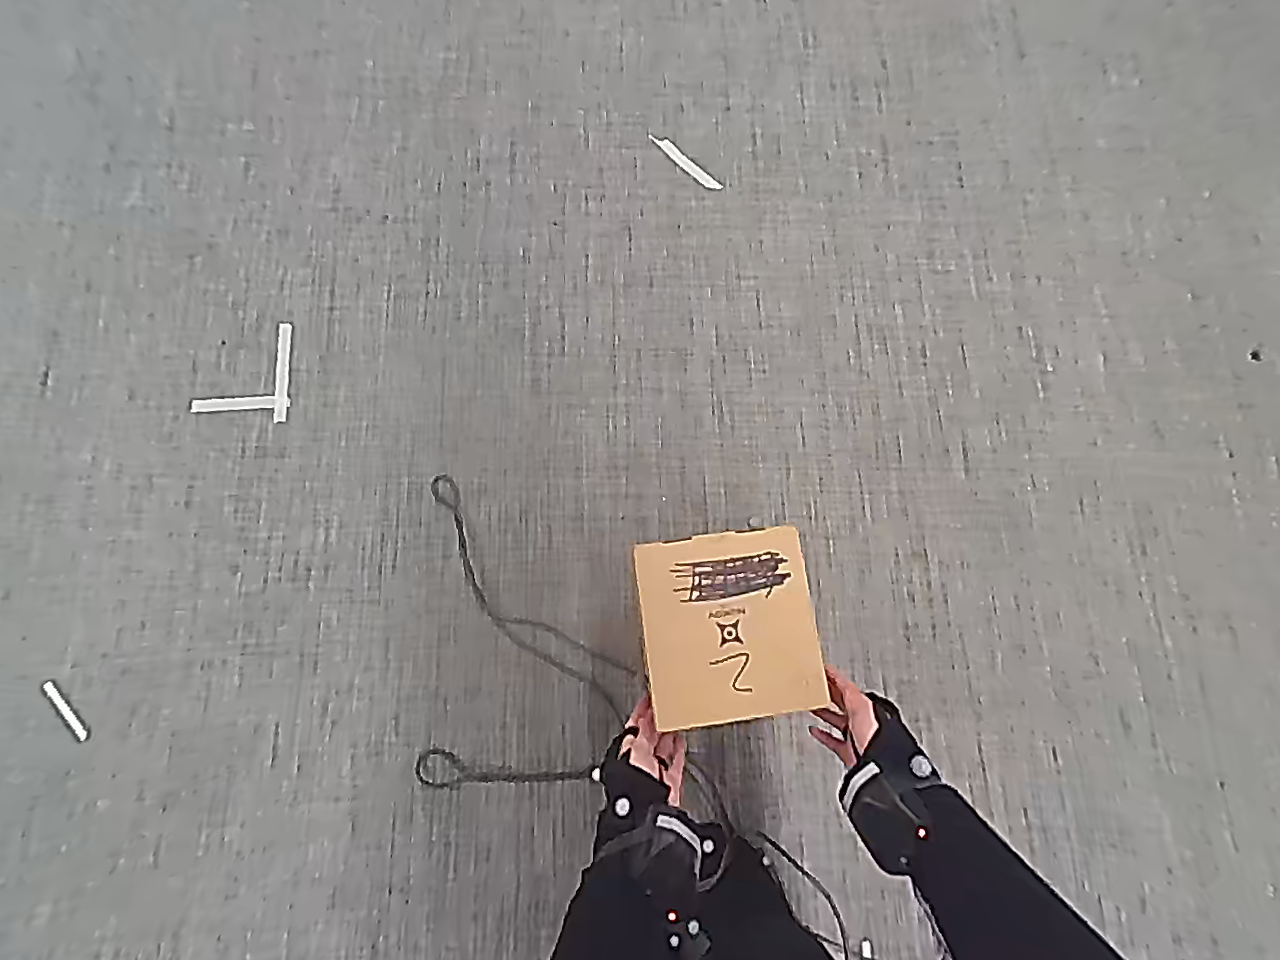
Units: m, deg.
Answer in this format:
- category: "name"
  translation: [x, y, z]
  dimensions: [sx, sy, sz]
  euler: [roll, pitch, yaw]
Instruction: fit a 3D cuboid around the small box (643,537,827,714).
- category: "small box"
  translation: [0.117, 0.192, 0.709]
  dimensions: [0.168, 0.176, 0.179]
  euler: [1, 60, -19]
